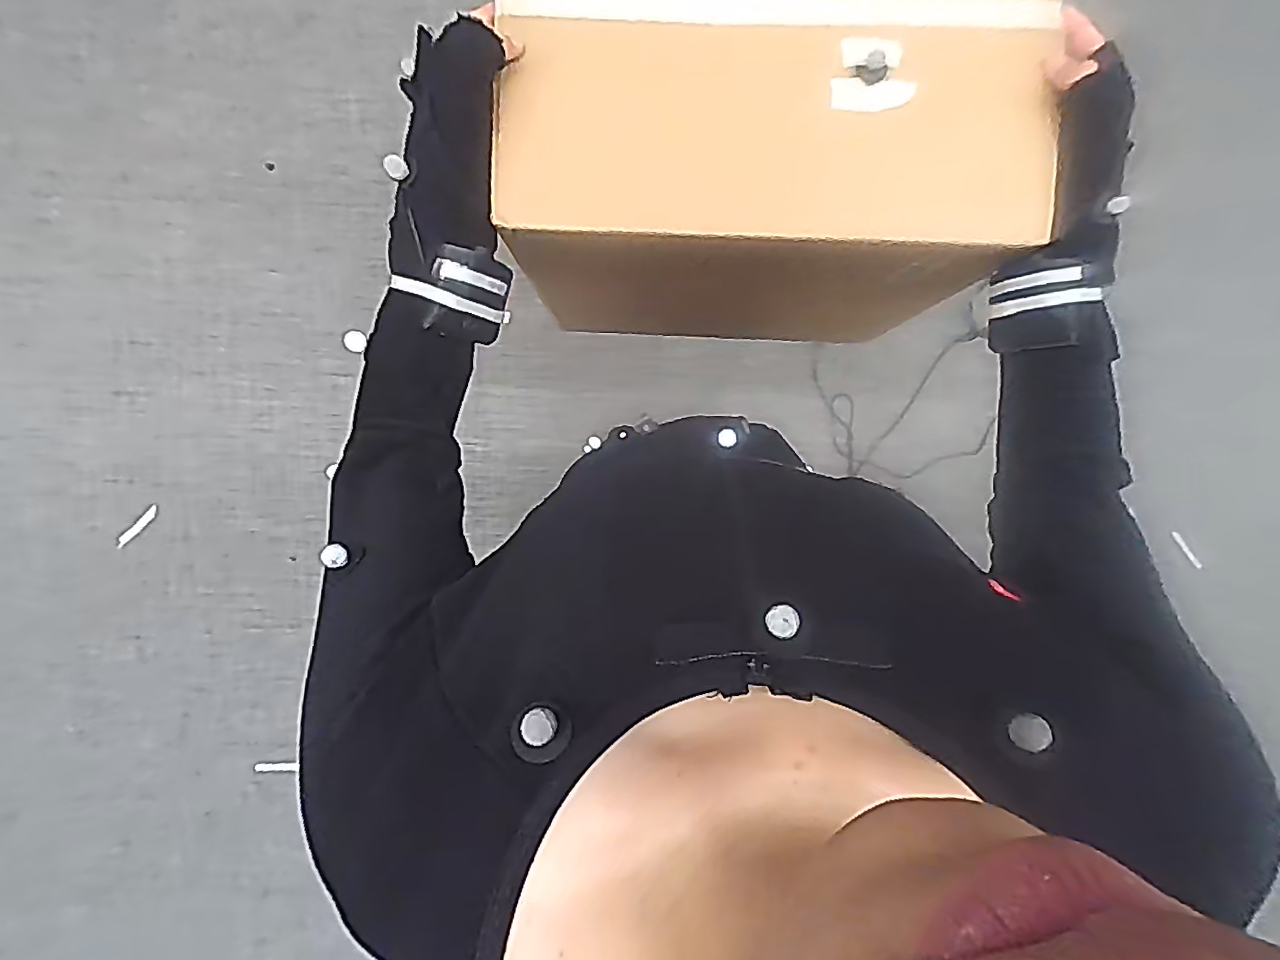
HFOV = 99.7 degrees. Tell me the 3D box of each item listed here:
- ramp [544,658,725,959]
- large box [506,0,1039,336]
[{"bbox_3d":[-0.013,1.007,1.499,0.509,0.206,0.991,0,95,1],"label":"ramp"},{"bbox_3d":[0.097,-0.340,0.554,0.408,0.320,0.320,2,91,0],"label":"large box"}]
